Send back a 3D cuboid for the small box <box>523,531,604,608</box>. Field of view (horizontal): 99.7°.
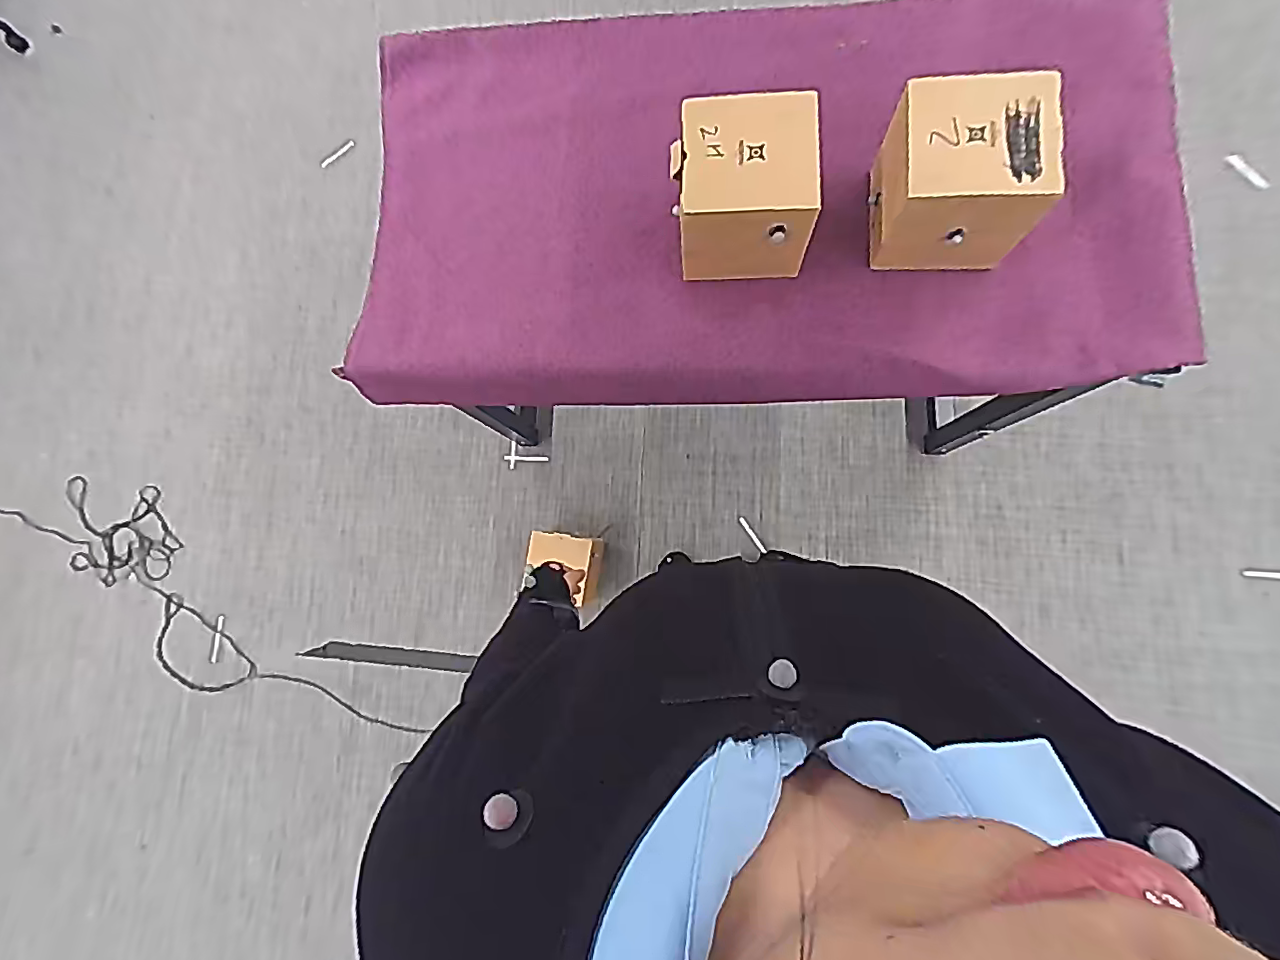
[{"bbox_3d":[-0.200,0.237,1.462,0.168,0.176,0.179,8,83,8],"label":"small box"}]

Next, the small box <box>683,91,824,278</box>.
[{"bbox_3d":[0.151,-0.403,0.764,0.179,0.176,0.168,0,81,7],"label":"small box"}]
